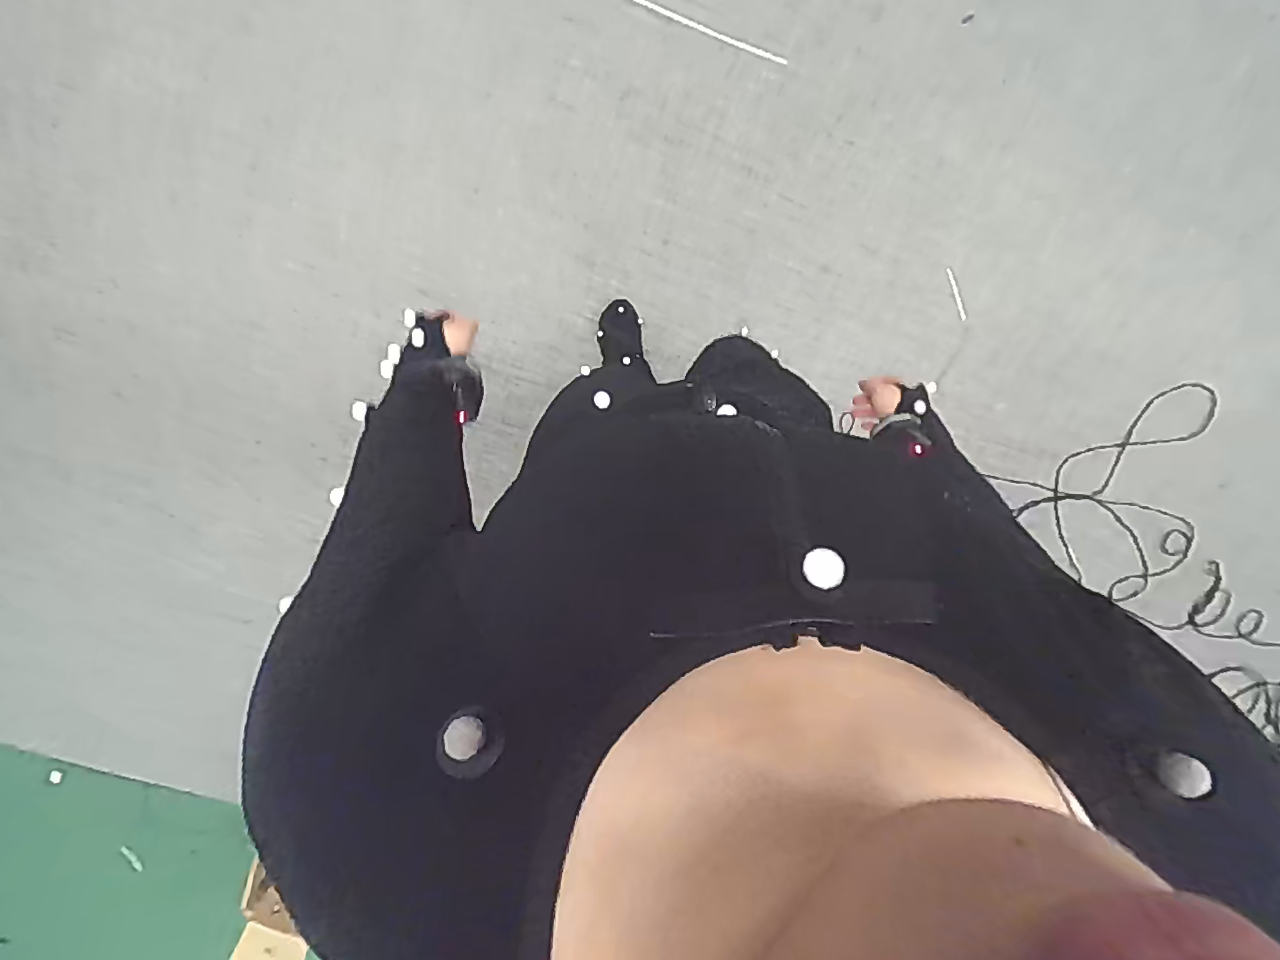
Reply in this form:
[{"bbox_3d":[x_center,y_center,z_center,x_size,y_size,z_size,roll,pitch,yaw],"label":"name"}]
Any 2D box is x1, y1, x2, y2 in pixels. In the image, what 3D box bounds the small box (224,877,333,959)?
[{"bbox_3d":[-0.994,1.243,1.485,0.179,0.176,0.168,28,102,-10],"label":"small box"}]
